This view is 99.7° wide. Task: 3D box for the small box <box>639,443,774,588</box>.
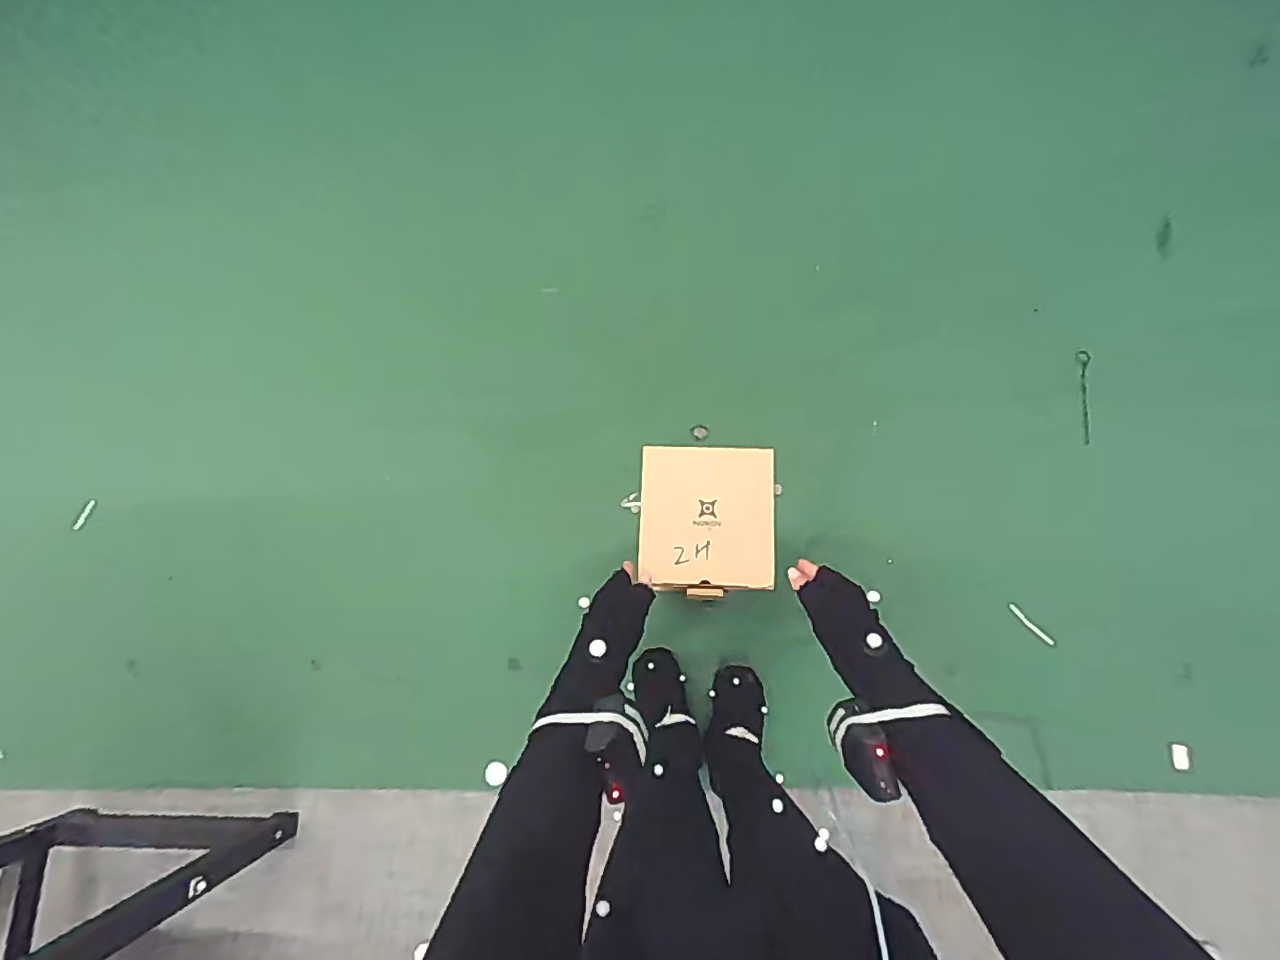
[{"bbox_3d":[0.088,0.056,0.746,0.168,0.176,0.179,1,80,5],"label":"small box"}]
